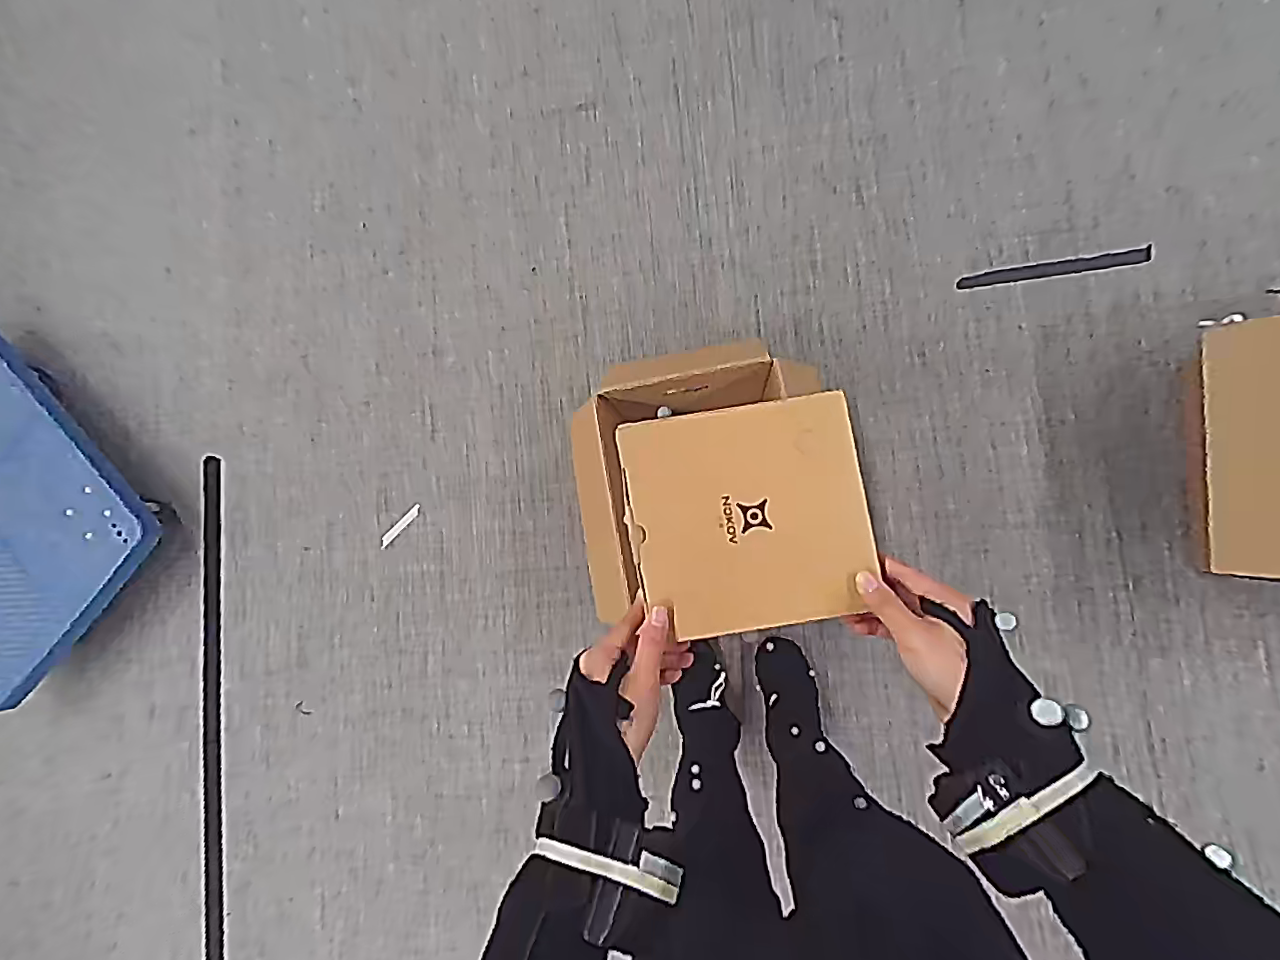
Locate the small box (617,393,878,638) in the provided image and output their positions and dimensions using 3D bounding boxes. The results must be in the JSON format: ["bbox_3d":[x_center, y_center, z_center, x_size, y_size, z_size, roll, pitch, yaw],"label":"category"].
[{"bbox_3d":[0.082,0.030,0.484,0.179,0.176,0.168,-10,85,3],"label":"small box"}]
